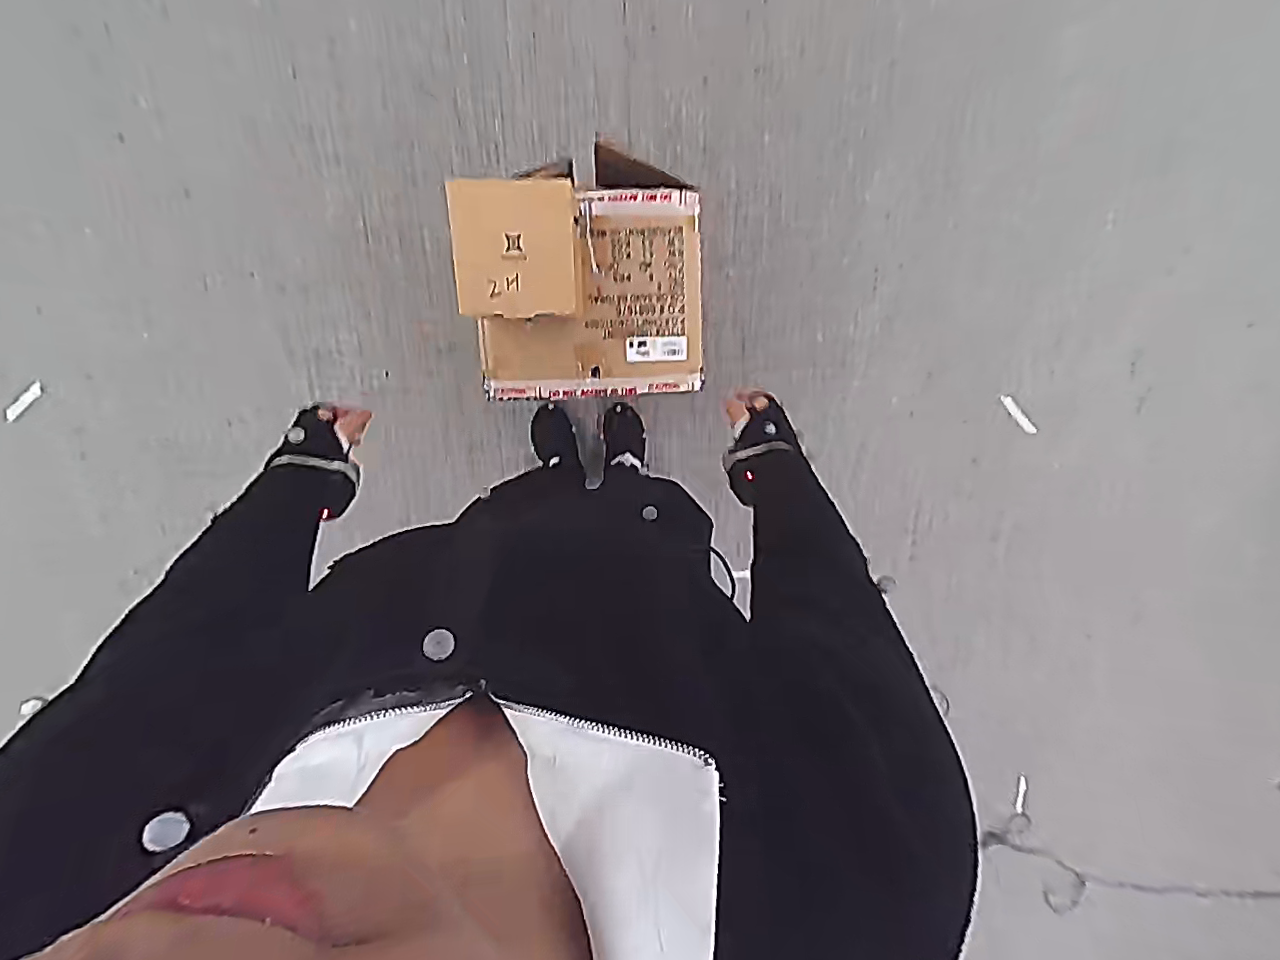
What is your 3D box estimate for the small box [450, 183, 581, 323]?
[{"bbox_3d":[-0.178,-0.333,0.823,0.168,0.176,0.179,-1,105,-2],"label":"small box"}]
